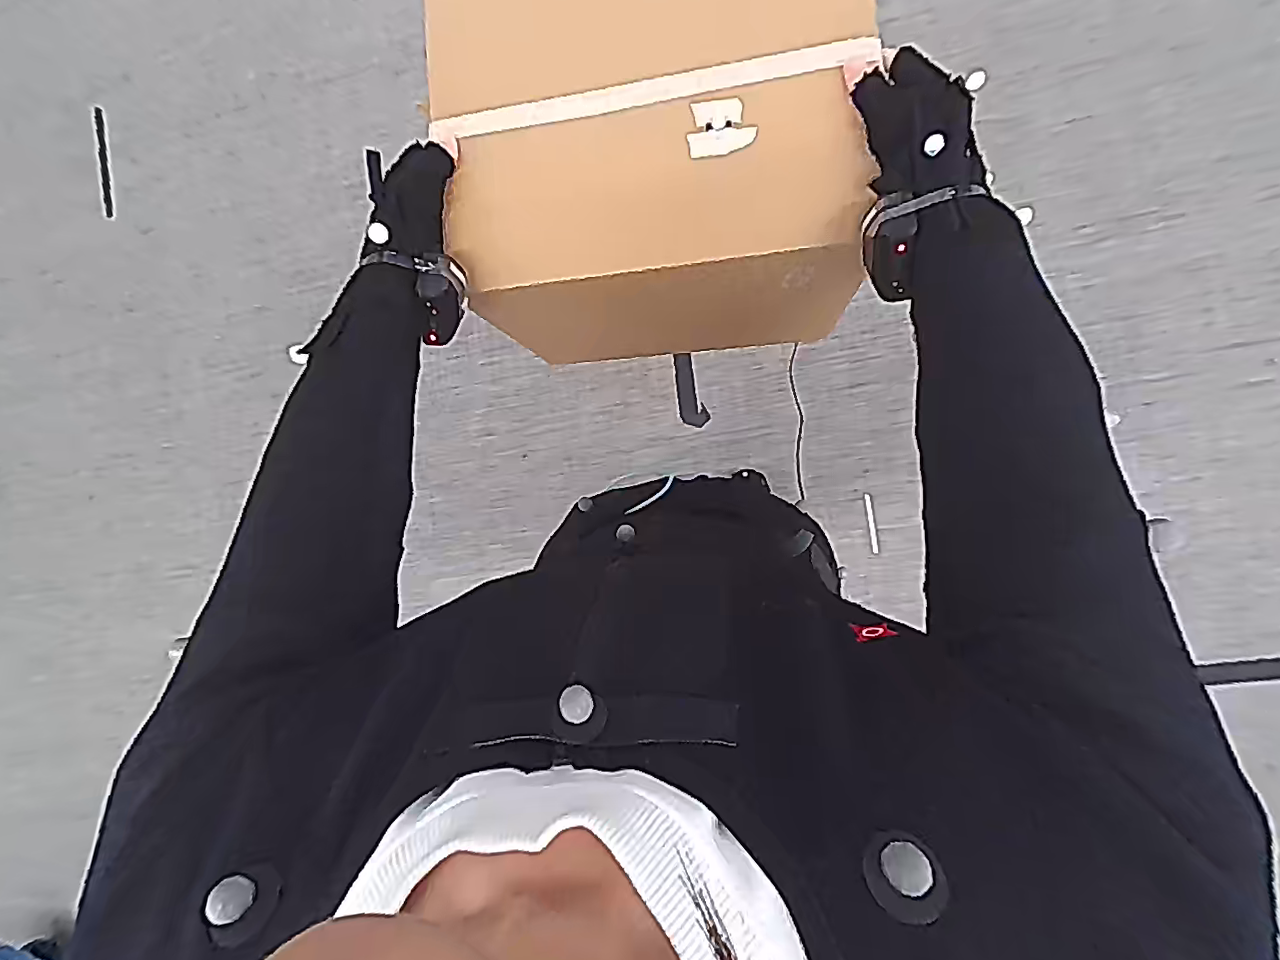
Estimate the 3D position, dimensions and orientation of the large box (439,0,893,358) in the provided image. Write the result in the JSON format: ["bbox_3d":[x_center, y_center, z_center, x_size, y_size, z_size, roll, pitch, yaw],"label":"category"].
[{"bbox_3d":[0.030,-0.351,0.639,0.408,0.320,0.320,-4,90,8],"label":"large box"}]
